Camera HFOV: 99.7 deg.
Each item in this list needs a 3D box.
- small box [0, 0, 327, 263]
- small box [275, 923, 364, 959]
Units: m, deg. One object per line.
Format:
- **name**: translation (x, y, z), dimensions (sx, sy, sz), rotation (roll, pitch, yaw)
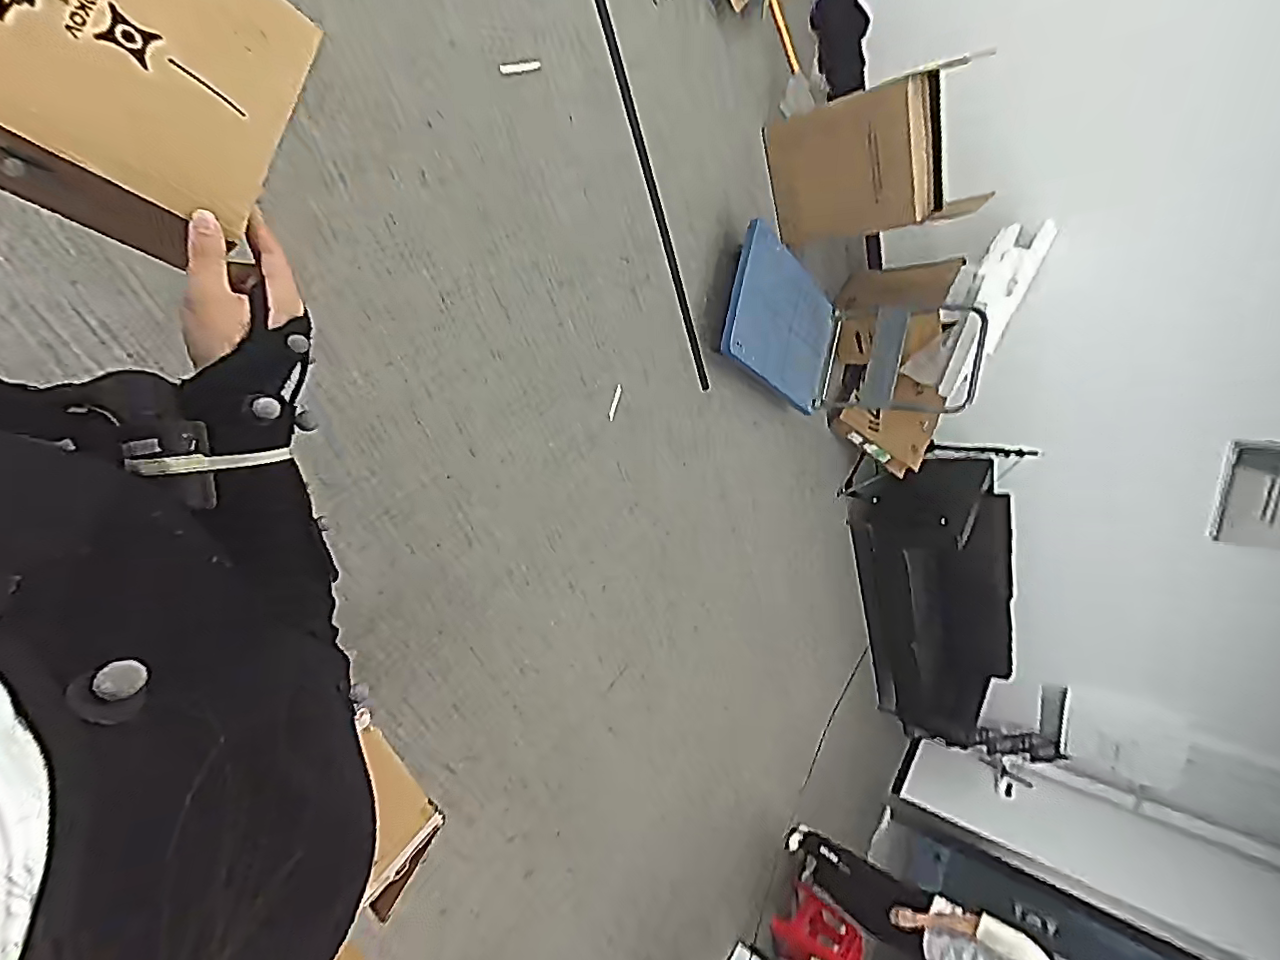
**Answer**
- **small box**: translation (-0.353, -0.266, 0.360), dimensions (0.179, 0.176, 0.168), rotation (23, 81, -47)
- **small box**: translation (-0.412, 0.712, 0.673), dimensions (0.168, 0.176, 0.179), rotation (-37, 122, -37)
